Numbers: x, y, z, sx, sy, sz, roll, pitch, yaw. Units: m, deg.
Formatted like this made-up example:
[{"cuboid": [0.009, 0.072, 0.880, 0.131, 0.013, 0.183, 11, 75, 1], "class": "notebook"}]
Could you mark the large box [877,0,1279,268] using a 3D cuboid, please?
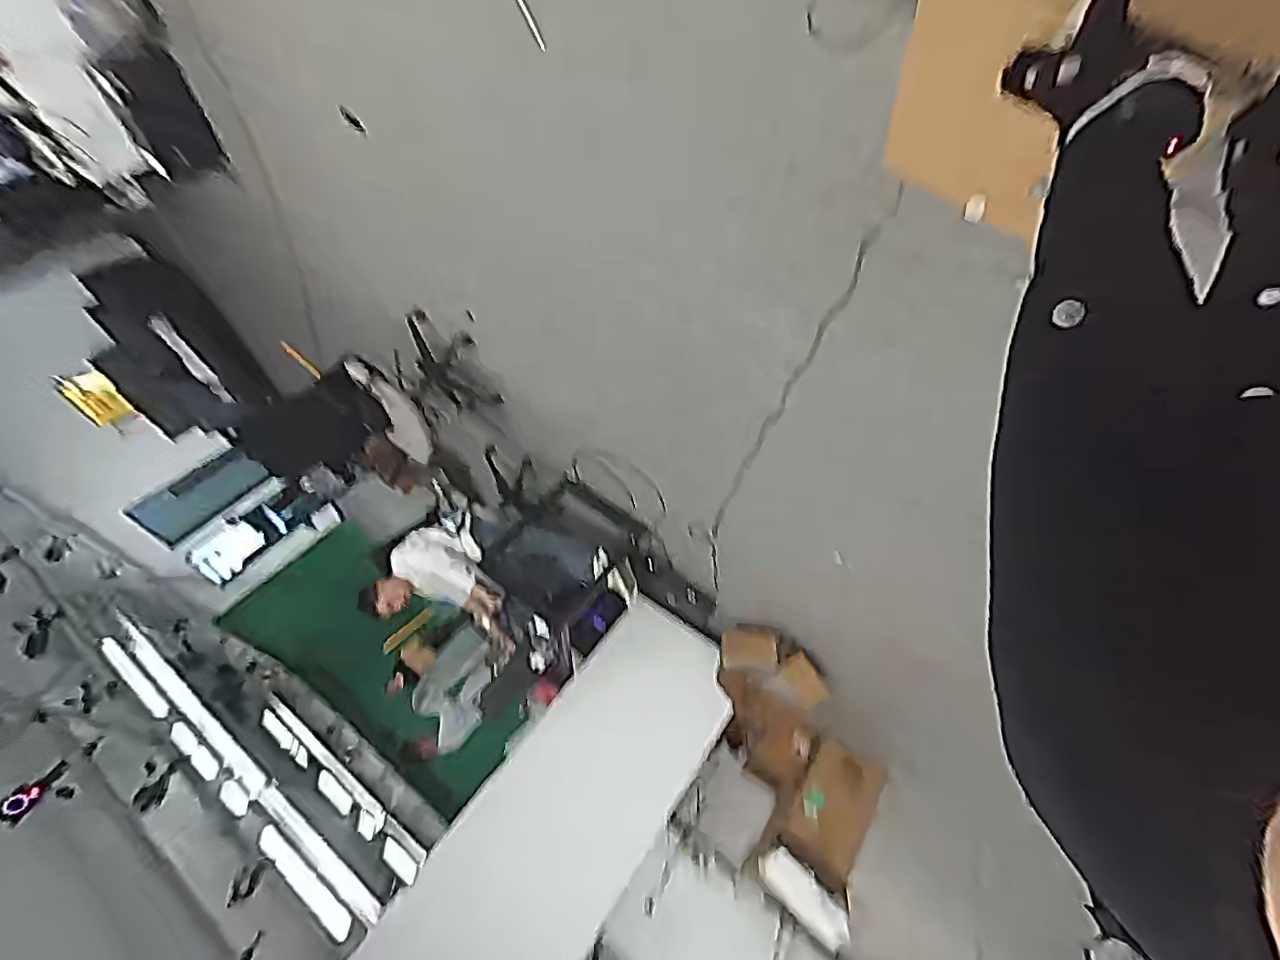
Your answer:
[{"cuboid": [0.551, -0.551, 0.635, 0.320, 0.408, 0.320, 38, -175, 18], "class": "large box"}]
